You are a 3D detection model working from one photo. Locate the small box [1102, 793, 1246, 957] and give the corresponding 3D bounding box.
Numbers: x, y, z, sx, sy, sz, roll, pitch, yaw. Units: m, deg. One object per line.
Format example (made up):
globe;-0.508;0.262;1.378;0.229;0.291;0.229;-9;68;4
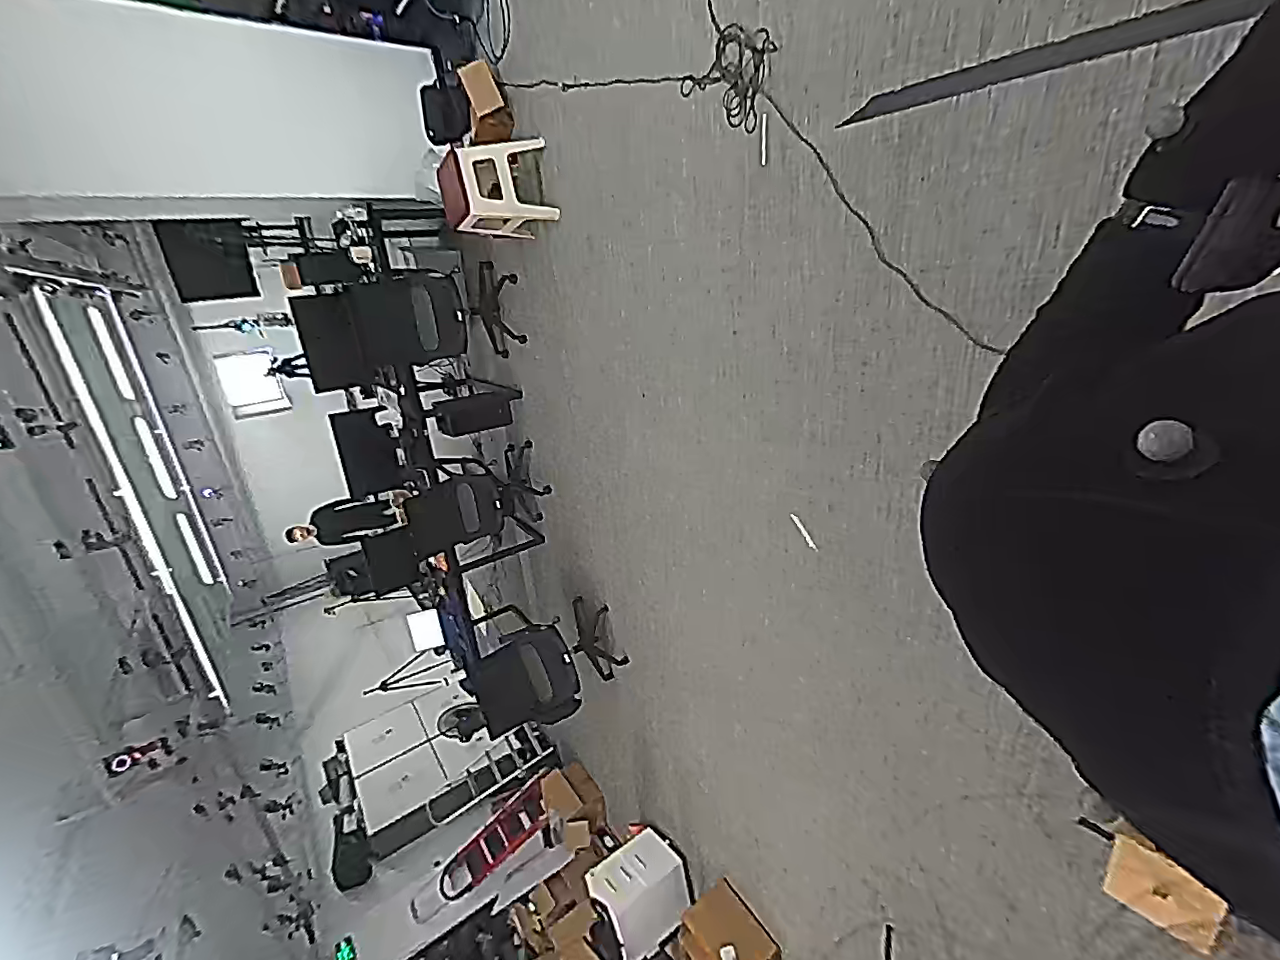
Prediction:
small box;1.100;0.802;1.115;0.168;0.176;0.179;20;121;52
